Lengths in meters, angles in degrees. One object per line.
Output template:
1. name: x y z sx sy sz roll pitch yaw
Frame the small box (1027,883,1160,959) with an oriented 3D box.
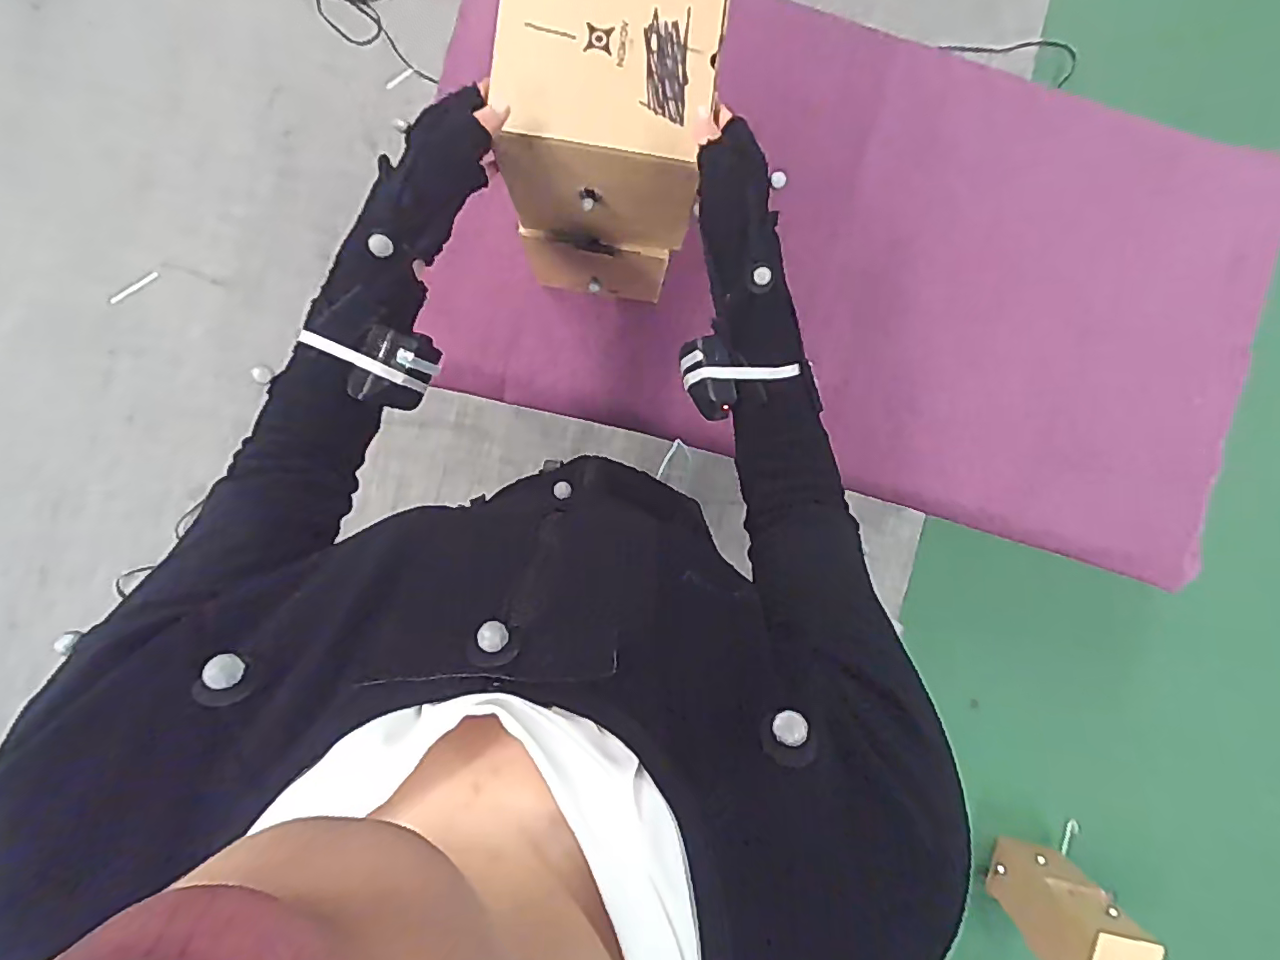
1. small box: 1.101 1.143 1.328 0.168 0.176 0.179 14 92 -2

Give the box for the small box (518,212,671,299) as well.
1. small box: -0.043 -0.342 0.659 0.168 0.176 0.179 8 92 -2

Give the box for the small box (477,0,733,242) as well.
1. small box: -0.029 -0.341 0.492 0.179 0.176 0.168 11 89 -4
